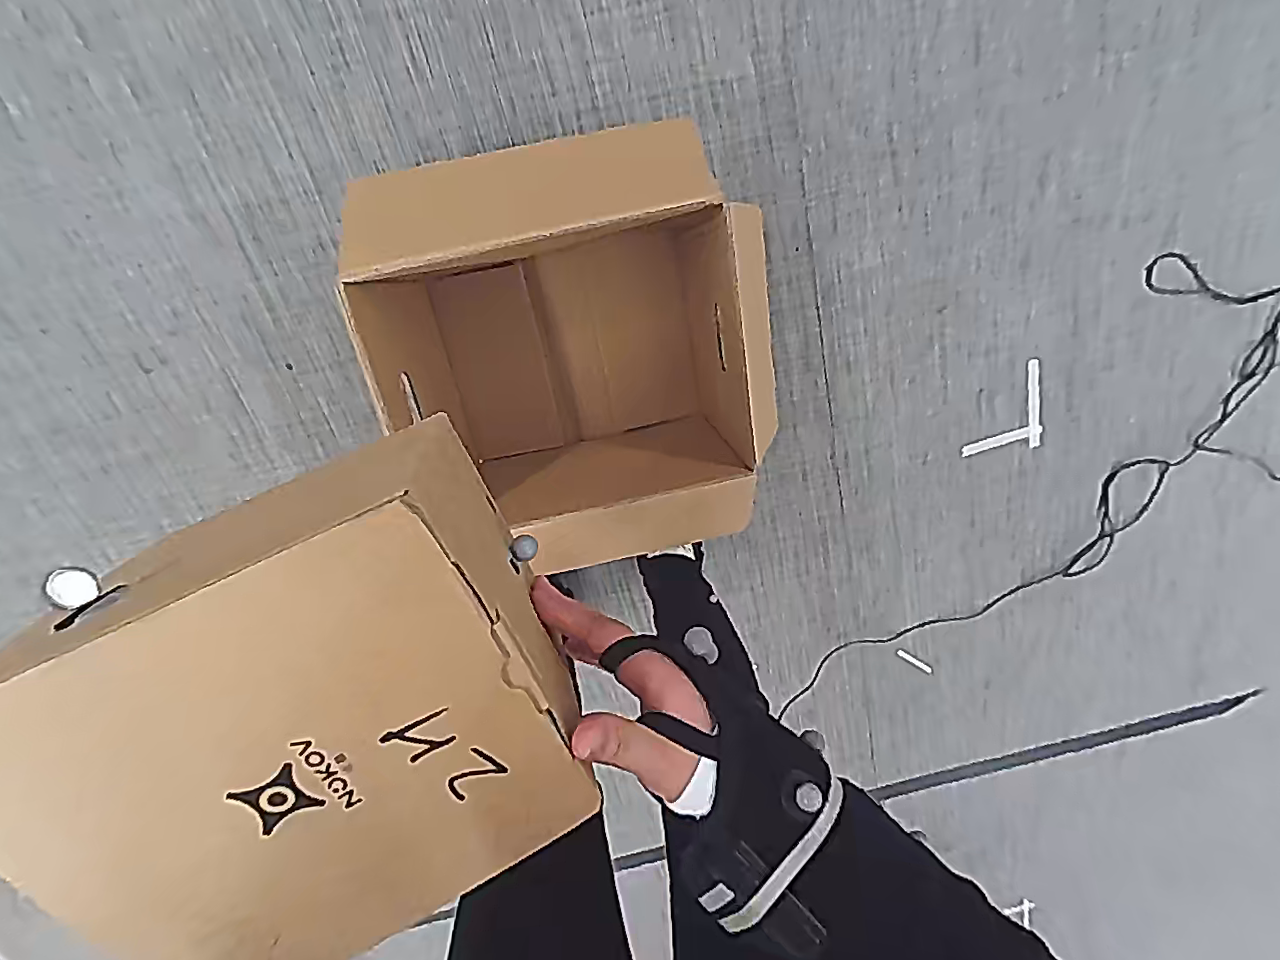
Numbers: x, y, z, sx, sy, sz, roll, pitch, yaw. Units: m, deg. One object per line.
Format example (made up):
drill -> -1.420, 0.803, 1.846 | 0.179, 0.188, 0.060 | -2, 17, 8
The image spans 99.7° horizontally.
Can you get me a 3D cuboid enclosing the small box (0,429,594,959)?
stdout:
small box -> -0.145, 0.091, 0.278 | 0.179, 0.176, 0.168 | -26, 112, -8
